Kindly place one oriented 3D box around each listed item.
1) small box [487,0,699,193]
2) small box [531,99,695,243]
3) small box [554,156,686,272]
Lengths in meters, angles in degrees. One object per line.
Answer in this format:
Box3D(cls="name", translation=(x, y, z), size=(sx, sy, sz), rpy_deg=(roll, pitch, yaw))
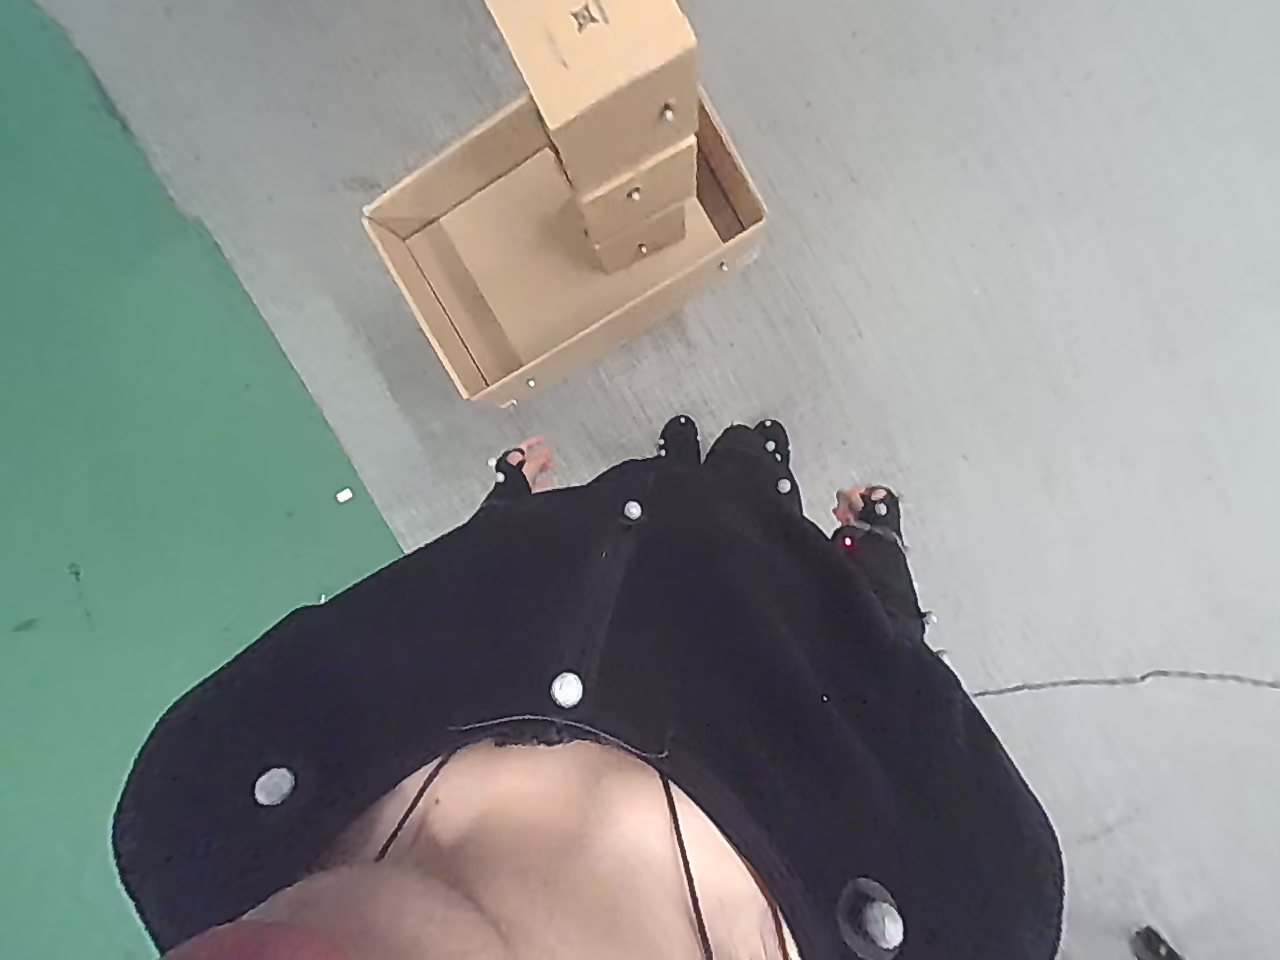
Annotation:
Box3D(cls="small box", translation=(-0.044, -0.478, 0.628), size=(0.179, 0.176, 0.168), rpy_deg=(-26, 91, 8))
Box3D(cls="small box", translation=(-0.028, -0.481, 0.791), size=(0.179, 0.176, 0.168), rpy_deg=(-25, 92, 7))
Box3D(cls="small box", translation=(-0.025, -0.490, 0.955), size=(0.168, 0.176, 0.179), rpy_deg=(-24, 91, 7))
